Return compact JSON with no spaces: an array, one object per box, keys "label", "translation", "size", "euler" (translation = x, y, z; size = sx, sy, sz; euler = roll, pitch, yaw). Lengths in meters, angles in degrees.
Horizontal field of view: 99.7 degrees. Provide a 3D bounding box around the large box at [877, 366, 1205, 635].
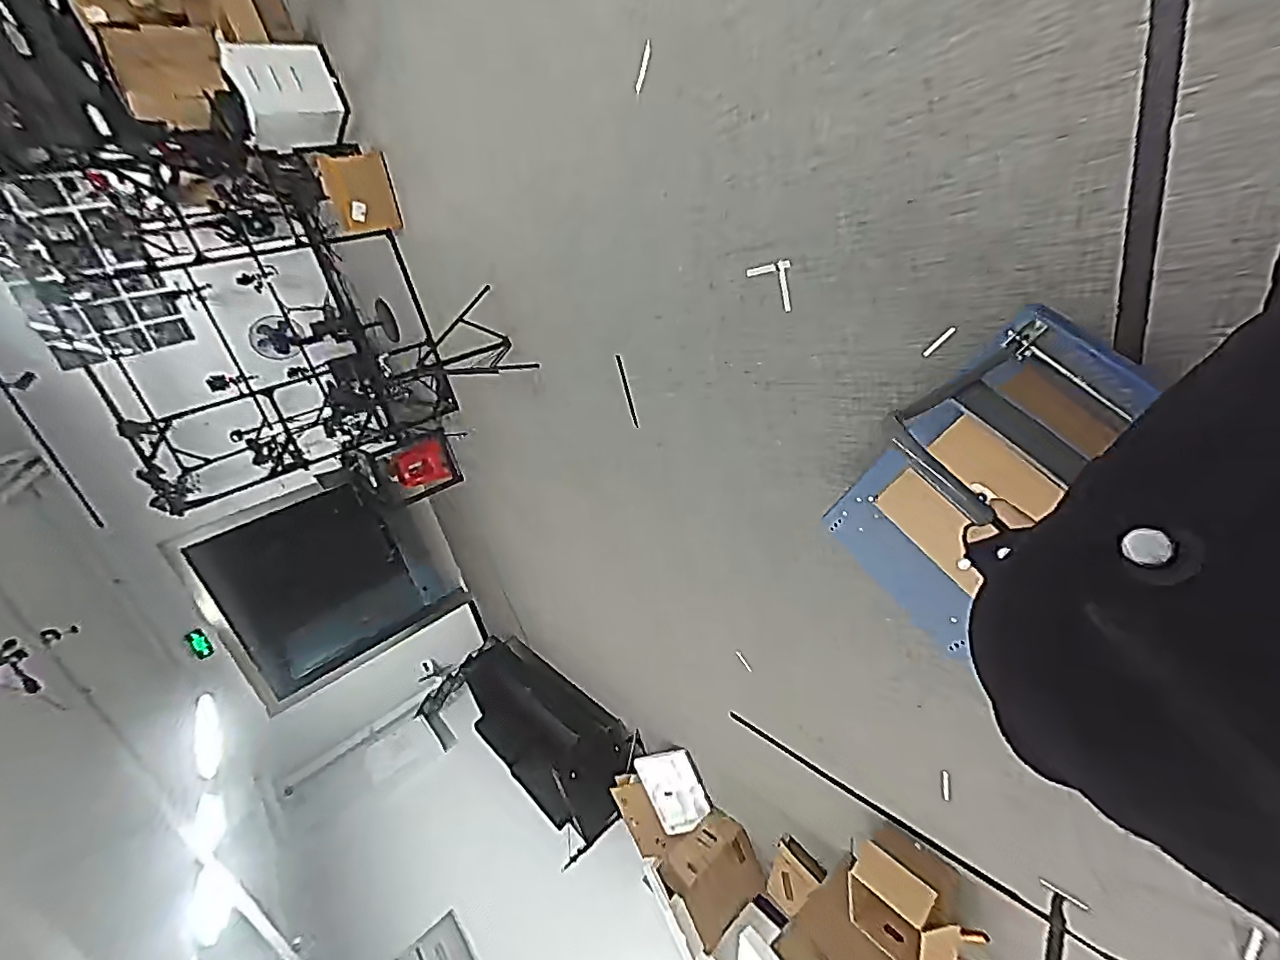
[{"label":"large box","translation":[0.813,0.035,1.136],"size":[0.408,0.320,0.320],"euler":[50,146,20]}]
